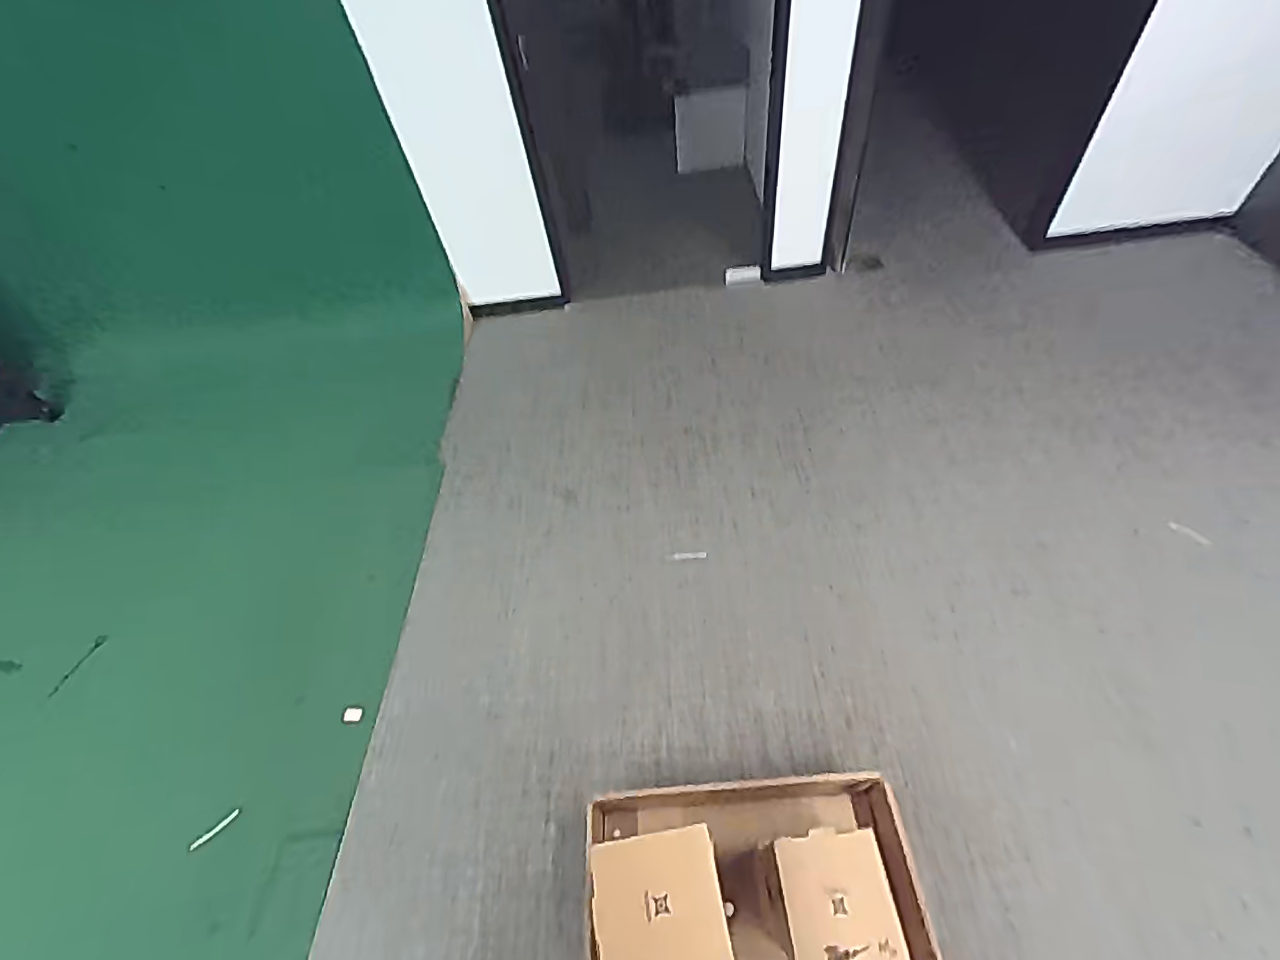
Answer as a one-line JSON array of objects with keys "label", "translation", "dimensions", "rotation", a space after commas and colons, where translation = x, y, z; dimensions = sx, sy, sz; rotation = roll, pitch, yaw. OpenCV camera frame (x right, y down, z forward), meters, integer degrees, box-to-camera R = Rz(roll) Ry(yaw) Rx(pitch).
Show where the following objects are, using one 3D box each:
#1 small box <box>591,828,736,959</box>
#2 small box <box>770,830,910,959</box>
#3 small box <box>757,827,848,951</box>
[{"label": "small box", "translation": [0.033, 0.625, 0.793], "dimensions": [0.179, 0.176, 0.168], "rotation": [-11, 52, -1]}, {"label": "small box", "translation": [0.318, 0.702, 0.898], "dimensions": [0.168, 0.176, 0.179], "rotation": [-8, 50, 3]}, {"label": "small box", "translation": [0.329, 0.786, 1.040], "dimensions": [0.179, 0.176, 0.168], "rotation": [-11, 51, 0]}]
